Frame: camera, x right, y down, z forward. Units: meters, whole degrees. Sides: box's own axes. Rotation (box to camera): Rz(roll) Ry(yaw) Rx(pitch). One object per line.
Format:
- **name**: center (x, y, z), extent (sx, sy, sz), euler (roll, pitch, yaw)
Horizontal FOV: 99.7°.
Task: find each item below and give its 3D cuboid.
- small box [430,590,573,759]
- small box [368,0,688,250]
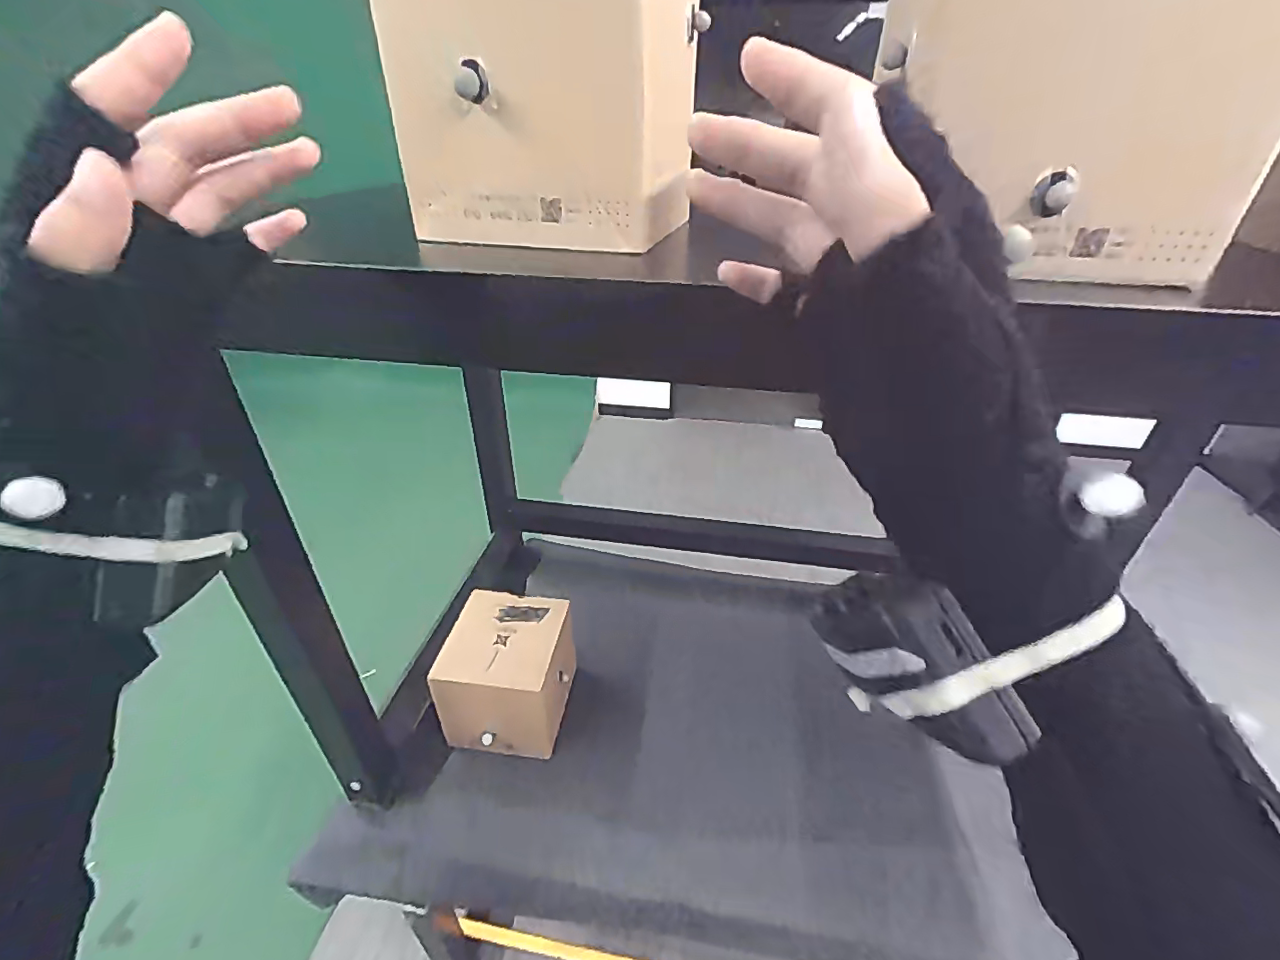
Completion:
- **small box**: center (-0.203, 0.301, 0.850), extent (0.168, 0.176, 0.179), euler (4, 33, 6)
- **small box**: center (-0.060, -0.271, 0.395), extent (0.168, 0.176, 0.179), euler (8, 33, 11)
